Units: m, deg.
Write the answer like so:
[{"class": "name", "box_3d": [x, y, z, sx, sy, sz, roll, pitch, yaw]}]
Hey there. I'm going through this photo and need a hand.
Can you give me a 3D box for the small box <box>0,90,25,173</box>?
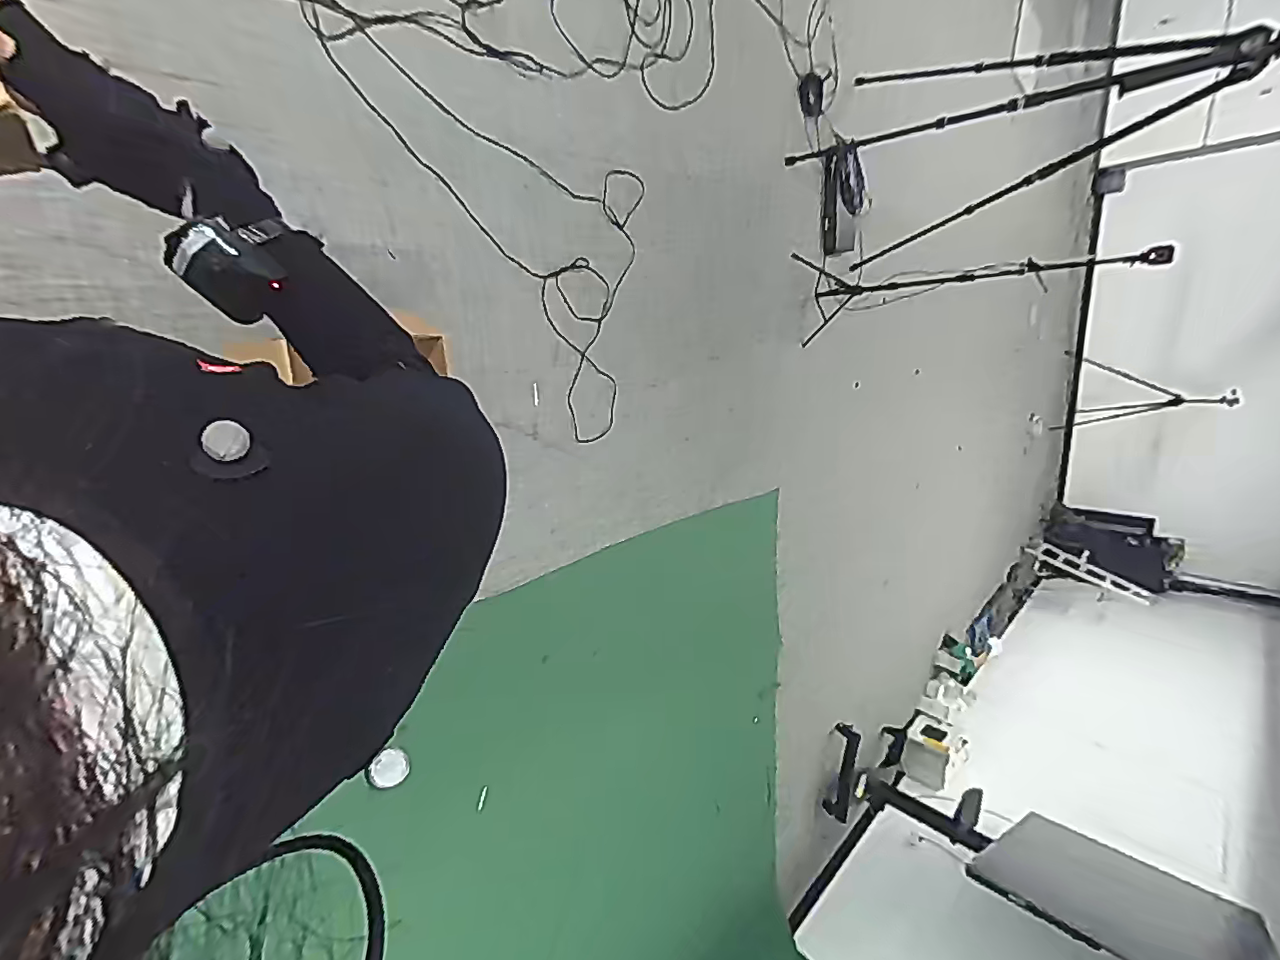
[{"class": "small box", "box_3d": [-0.481, -0.259, 0.272, 0.168, 0.176, 0.179, -34, 124, -33]}]
